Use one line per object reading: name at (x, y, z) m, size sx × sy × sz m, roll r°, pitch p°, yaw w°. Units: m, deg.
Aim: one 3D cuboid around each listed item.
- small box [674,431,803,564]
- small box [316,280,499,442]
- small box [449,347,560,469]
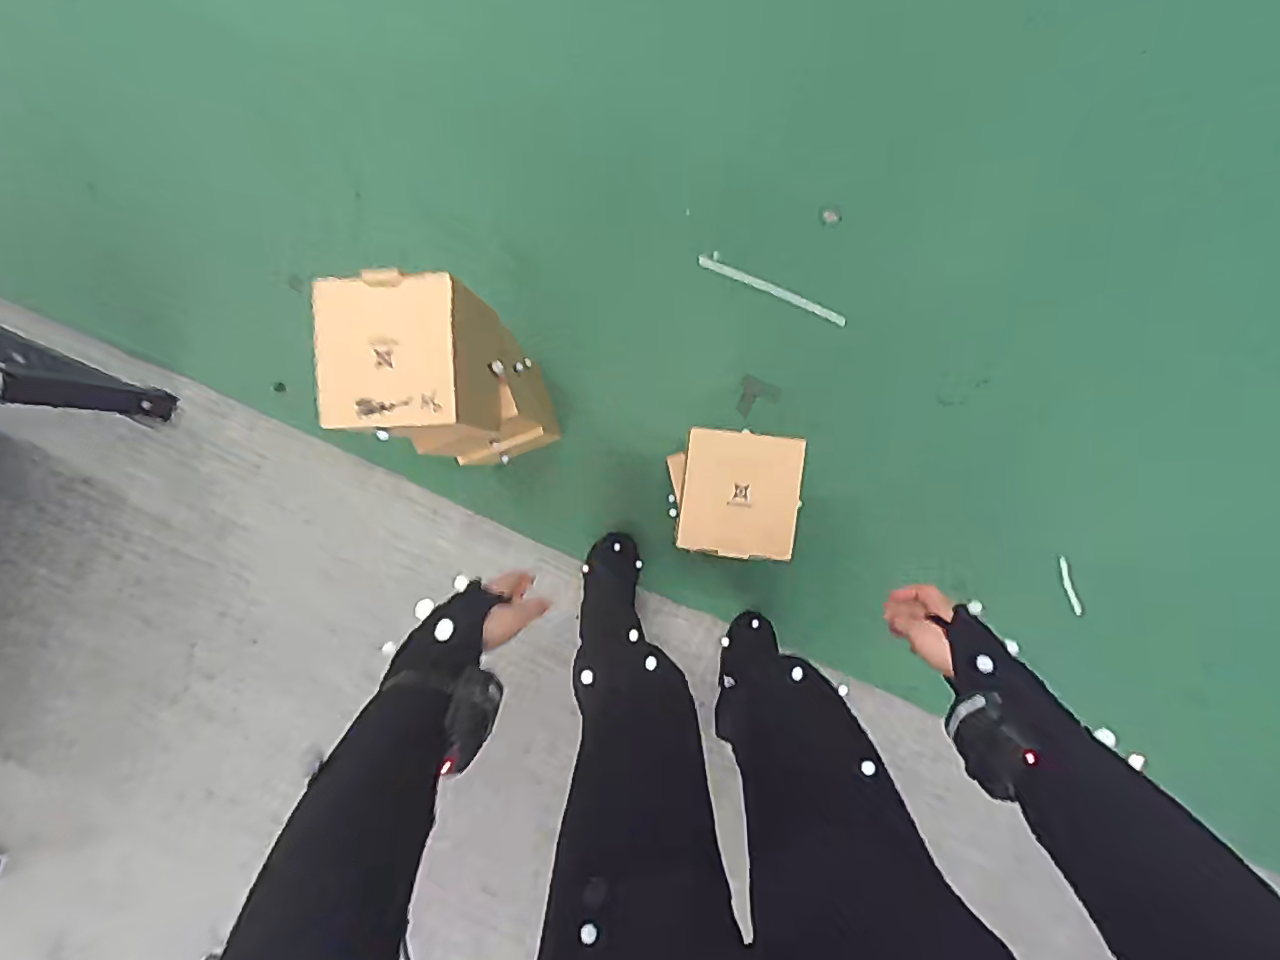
small box at (0.145, 0.023, 0.846) m, size 0.168 × 0.176 × 0.179 m, roll 6°, pitch 91°, yaw 2°
small box at (-0.290, -0.144, 0.705) m, size 0.168 × 0.176 × 0.179 m, roll -1°, pitch 91°, yaw 4°
small box at (-0.269, -0.131, 1.034) m, size 0.168 × 0.176 × 0.179 m, roll -21°, pitch 89°, yaw 4°
